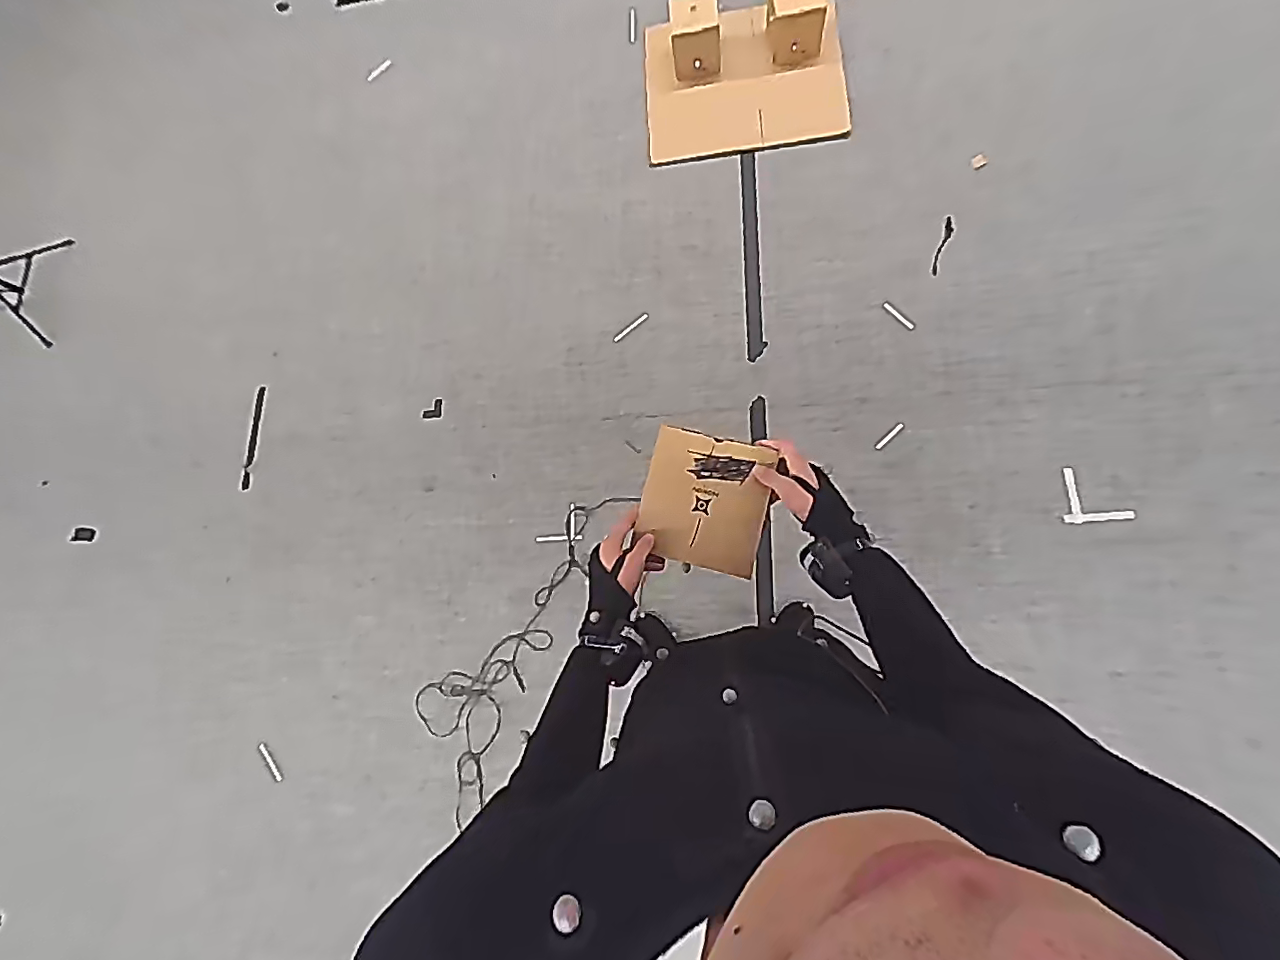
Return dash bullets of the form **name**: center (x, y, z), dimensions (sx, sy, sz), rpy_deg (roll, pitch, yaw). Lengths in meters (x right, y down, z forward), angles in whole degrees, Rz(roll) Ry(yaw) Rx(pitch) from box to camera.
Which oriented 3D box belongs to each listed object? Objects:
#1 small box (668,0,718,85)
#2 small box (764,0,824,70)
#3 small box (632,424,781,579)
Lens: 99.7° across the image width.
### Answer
- **small box**: center (0.191, -1.571, 1.935), dimensions (0.168, 0.176, 0.179), rpy_deg (-4, 78, 10)
- **small box**: center (0.531, -1.591, 1.887), dimensions (0.168, 0.176, 0.179), rpy_deg (-8, 77, 8)
- **small box**: center (0.095, 0.036, 0.789), dimensions (0.168, 0.176, 0.179), rpy_deg (13, 84, 9)
